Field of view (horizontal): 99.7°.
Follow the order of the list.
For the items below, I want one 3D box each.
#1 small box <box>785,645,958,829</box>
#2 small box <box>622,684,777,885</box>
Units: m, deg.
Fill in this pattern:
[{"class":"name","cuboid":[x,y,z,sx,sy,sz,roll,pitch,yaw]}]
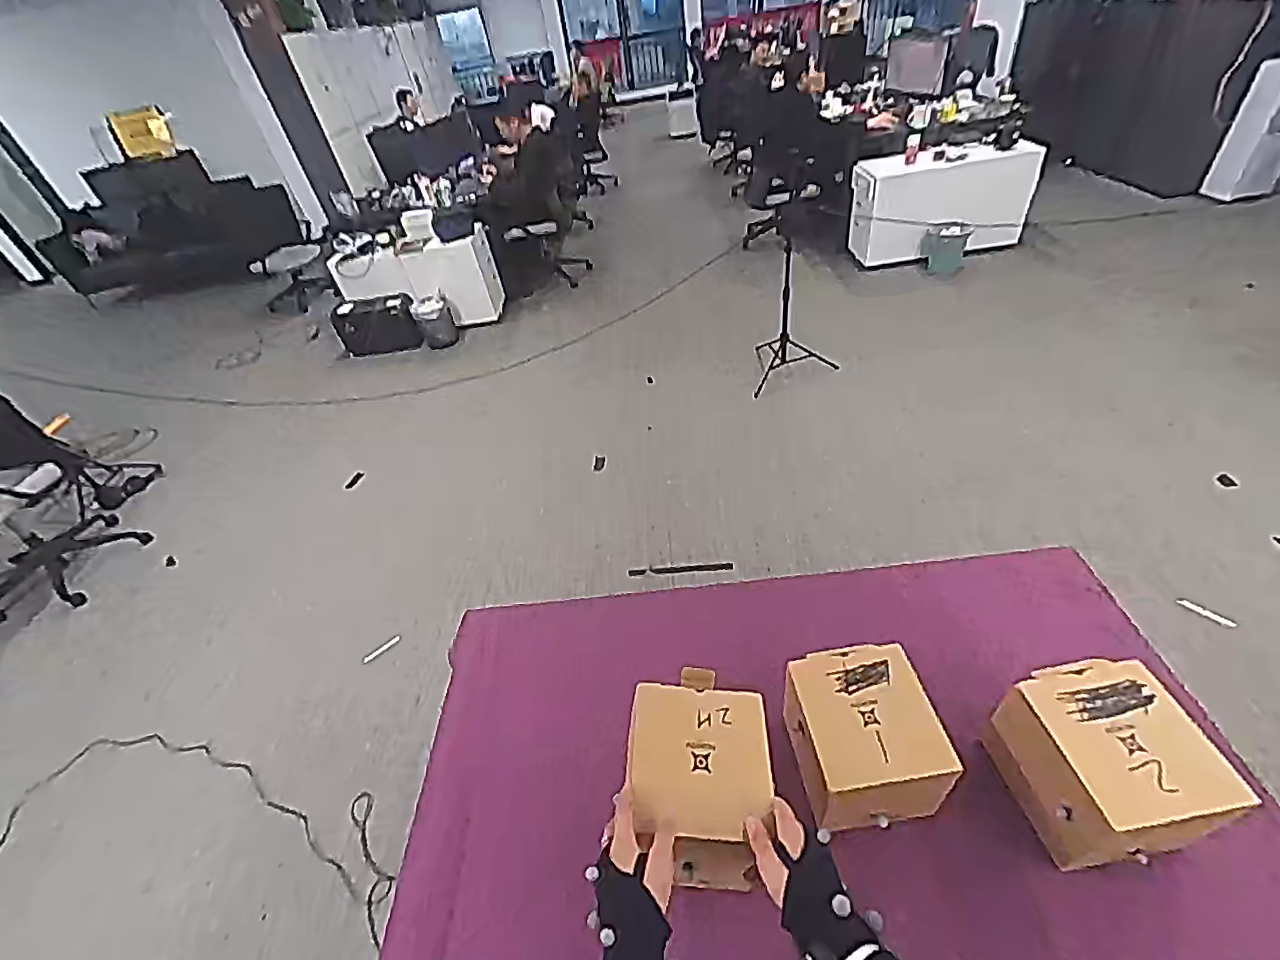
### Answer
[{"class":"small box","cuboid":[0.313,0.368,0.777,0.168,0.176,0.179,-11,41,1]},{"class":"small box","cuboid":[0.067,0.391,0.694,0.168,0.176,0.179,6,39,-1]}]
